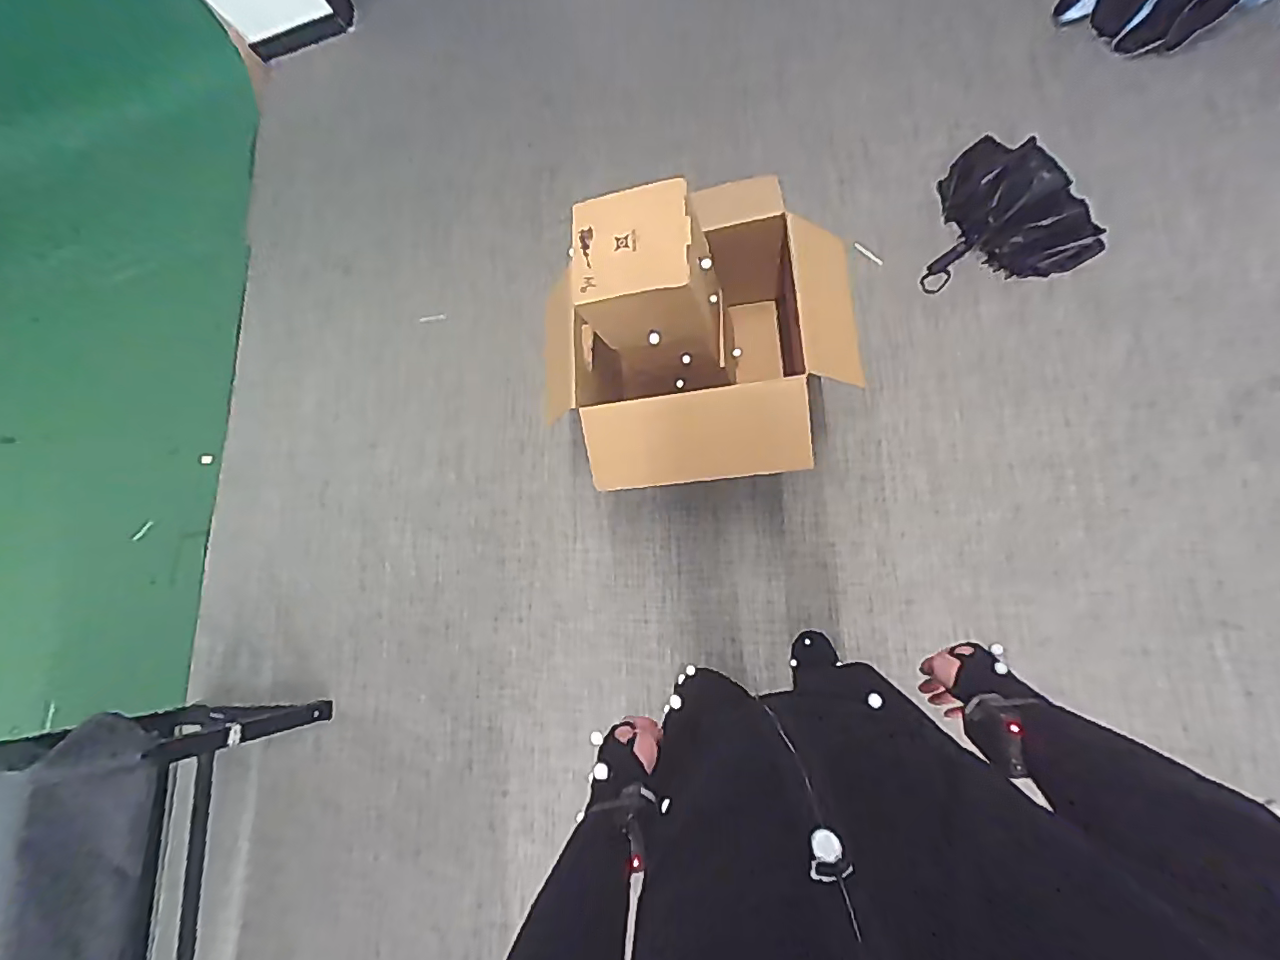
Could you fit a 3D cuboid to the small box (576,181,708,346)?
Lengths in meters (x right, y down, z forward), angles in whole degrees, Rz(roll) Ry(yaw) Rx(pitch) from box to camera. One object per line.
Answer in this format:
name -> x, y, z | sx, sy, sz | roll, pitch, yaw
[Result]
small box -> 0.012, -0.325, 0.846 | 0.179, 0.176, 0.168 | -4, 79, 16
